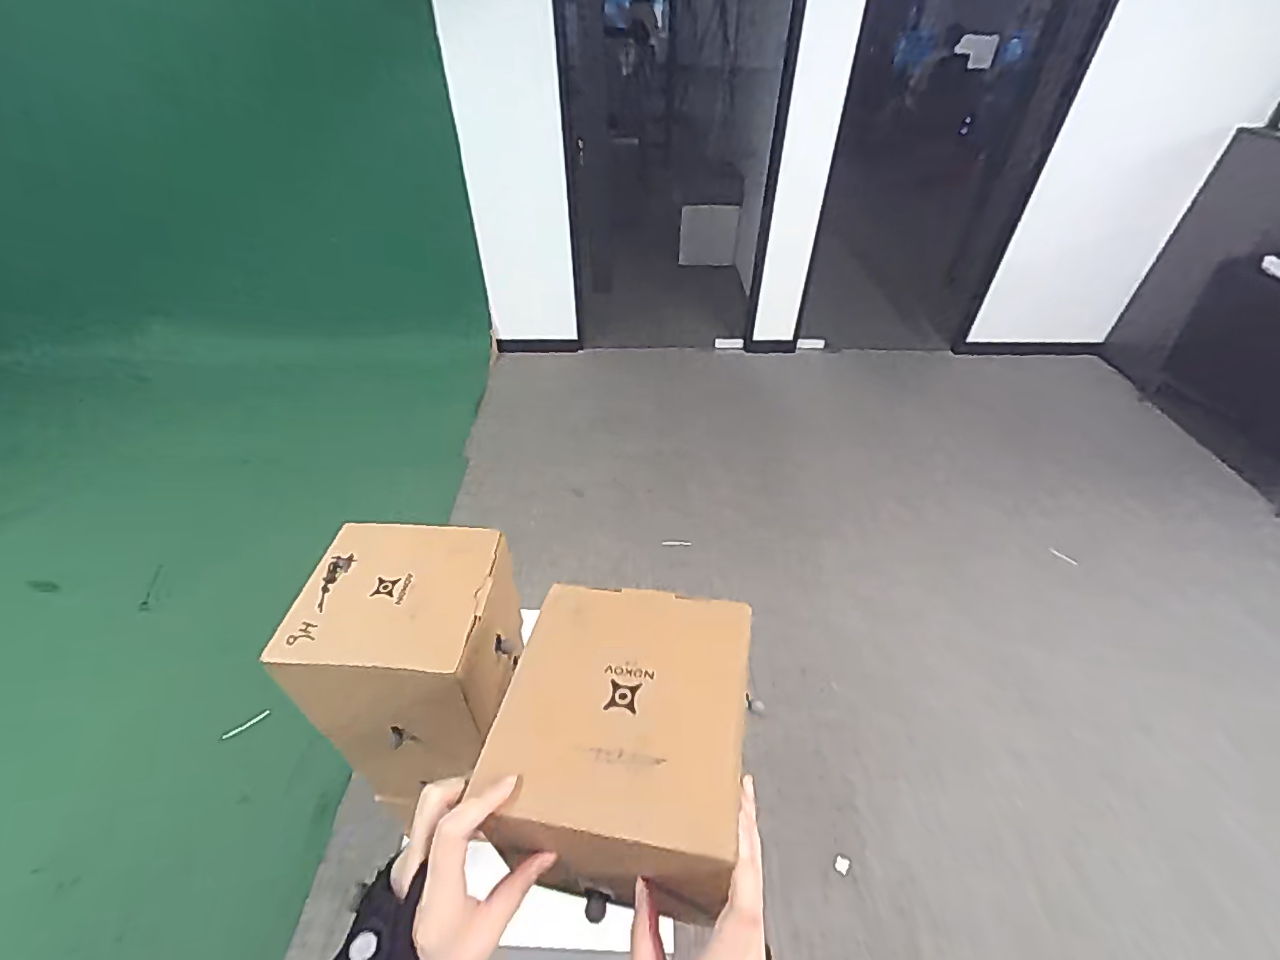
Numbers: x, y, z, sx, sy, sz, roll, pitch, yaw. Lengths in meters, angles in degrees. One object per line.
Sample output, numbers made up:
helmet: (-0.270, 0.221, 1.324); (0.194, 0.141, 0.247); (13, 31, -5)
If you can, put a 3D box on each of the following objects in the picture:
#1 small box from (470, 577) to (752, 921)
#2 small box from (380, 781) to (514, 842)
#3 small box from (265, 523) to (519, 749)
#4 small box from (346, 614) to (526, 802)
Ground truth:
small box: (-0.003, 0.204, 0.427); (0.168, 0.176, 0.179); (3, 40, 13)
small box: (-0.251, 0.408, 0.800); (0.168, 0.176, 0.179); (2, 43, 1)
small box: (-0.236, 0.168, 0.576); (0.179, 0.176, 0.168); (4, 42, 2)
small box: (-0.243, 0.284, 0.693); (0.168, 0.176, 0.179); (3, 42, 2)
